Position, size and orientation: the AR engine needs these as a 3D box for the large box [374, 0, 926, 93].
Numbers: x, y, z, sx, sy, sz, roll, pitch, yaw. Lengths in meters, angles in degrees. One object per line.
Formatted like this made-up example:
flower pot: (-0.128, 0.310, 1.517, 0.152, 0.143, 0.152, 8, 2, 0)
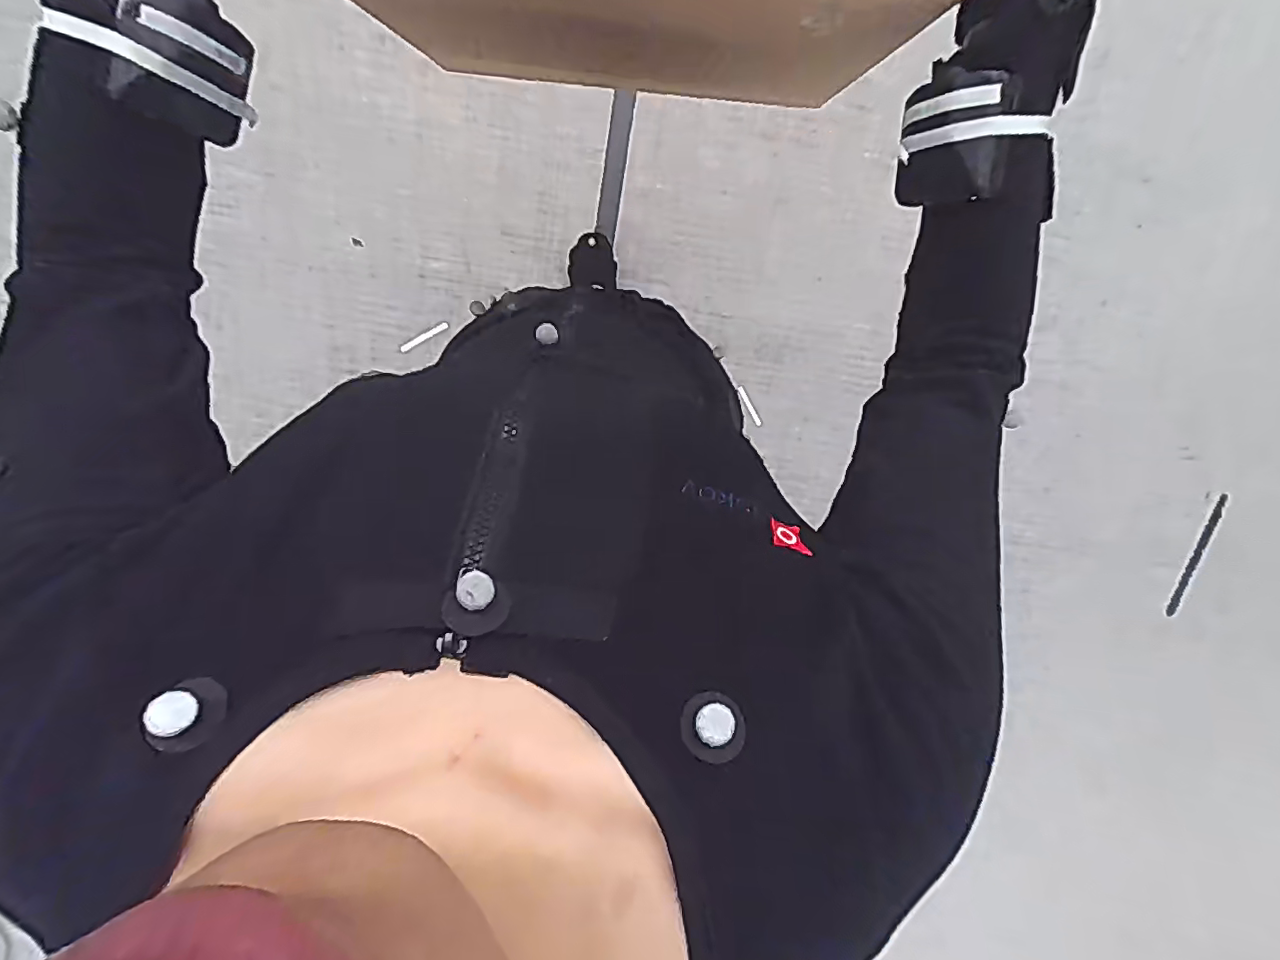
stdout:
large box: (0.001, -0.498, 0.376, 0.408, 0.320, 0.320, 4, 116, -1)
